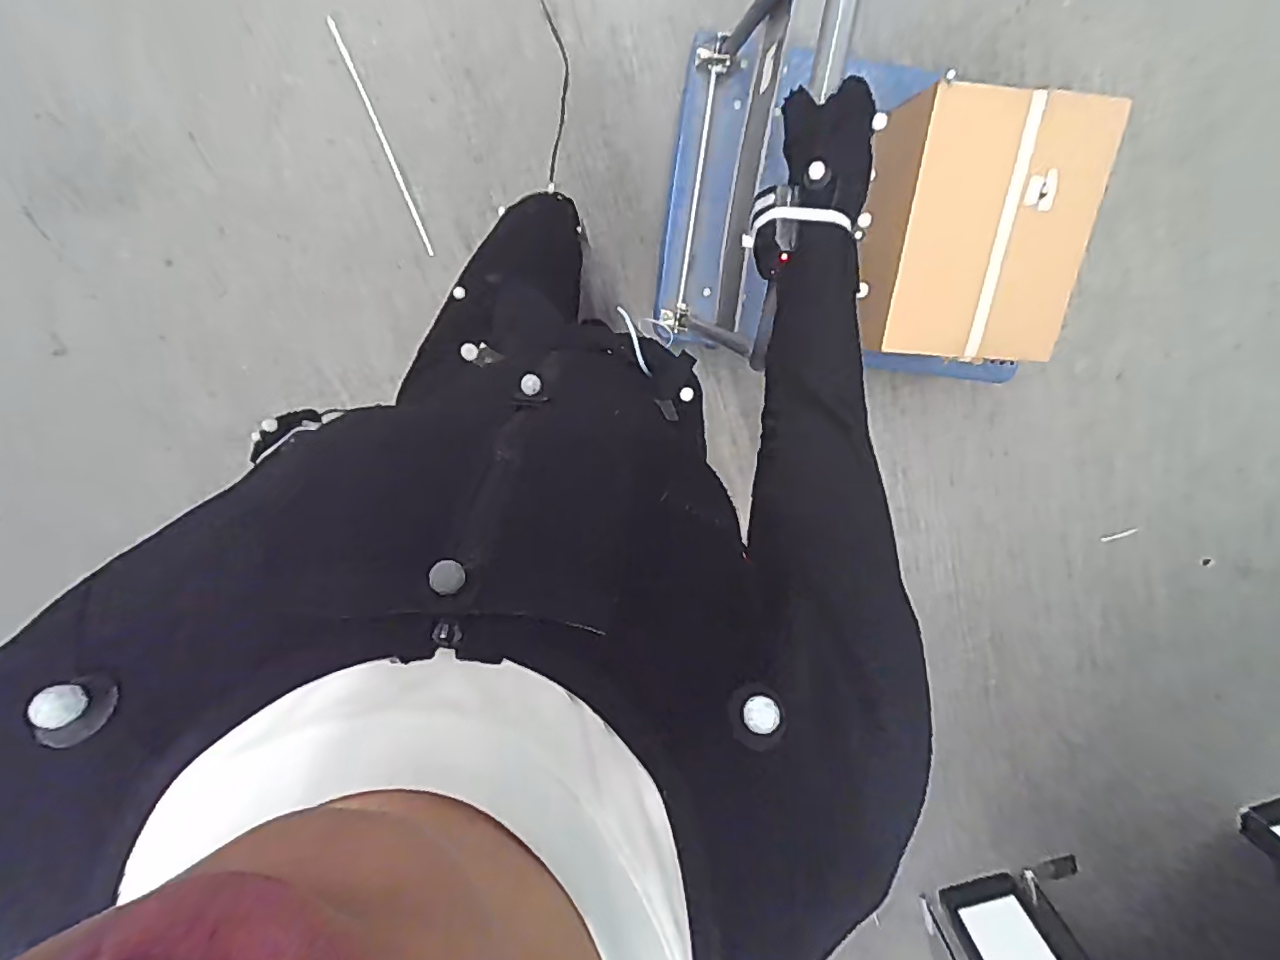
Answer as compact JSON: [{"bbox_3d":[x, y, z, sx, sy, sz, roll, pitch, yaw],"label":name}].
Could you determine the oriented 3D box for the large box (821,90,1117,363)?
[{"bbox_3d":[0.572,-0.446,1.031,0.320,0.320,0.408,2,109,-5],"label":"large box"}]
